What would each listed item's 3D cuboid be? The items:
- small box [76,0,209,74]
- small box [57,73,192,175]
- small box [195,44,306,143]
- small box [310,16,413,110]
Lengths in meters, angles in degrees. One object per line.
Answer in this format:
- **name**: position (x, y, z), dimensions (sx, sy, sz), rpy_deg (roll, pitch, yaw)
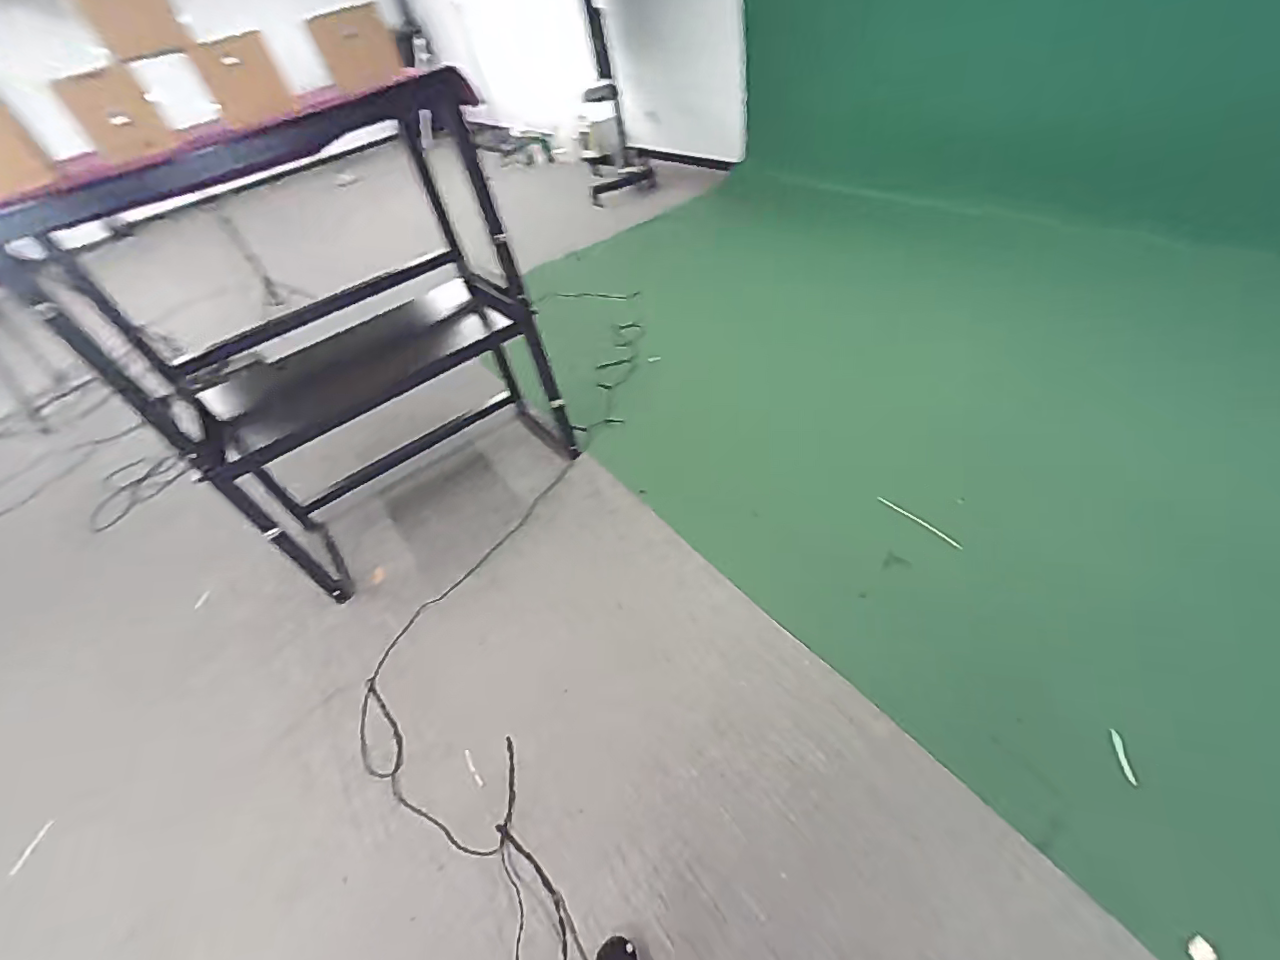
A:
- **small box**: position (-1.127, -1.032, 1.221), dimensions (0.179, 0.176, 0.168), rpy_deg (-33, 45, -22)
- **small box**: position (-1.207, -0.841, 1.280), dimensions (0.168, 0.176, 0.179), rpy_deg (-33, 46, -21)
- **small box**: position (-0.984, -0.984, 1.377), dimensions (0.179, 0.176, 0.168), rpy_deg (-33, 45, -19)
- **small box**: position (-0.753, -1.129, 1.468), dimensions (0.179, 0.176, 0.168), rpy_deg (-30, 47, -17)
